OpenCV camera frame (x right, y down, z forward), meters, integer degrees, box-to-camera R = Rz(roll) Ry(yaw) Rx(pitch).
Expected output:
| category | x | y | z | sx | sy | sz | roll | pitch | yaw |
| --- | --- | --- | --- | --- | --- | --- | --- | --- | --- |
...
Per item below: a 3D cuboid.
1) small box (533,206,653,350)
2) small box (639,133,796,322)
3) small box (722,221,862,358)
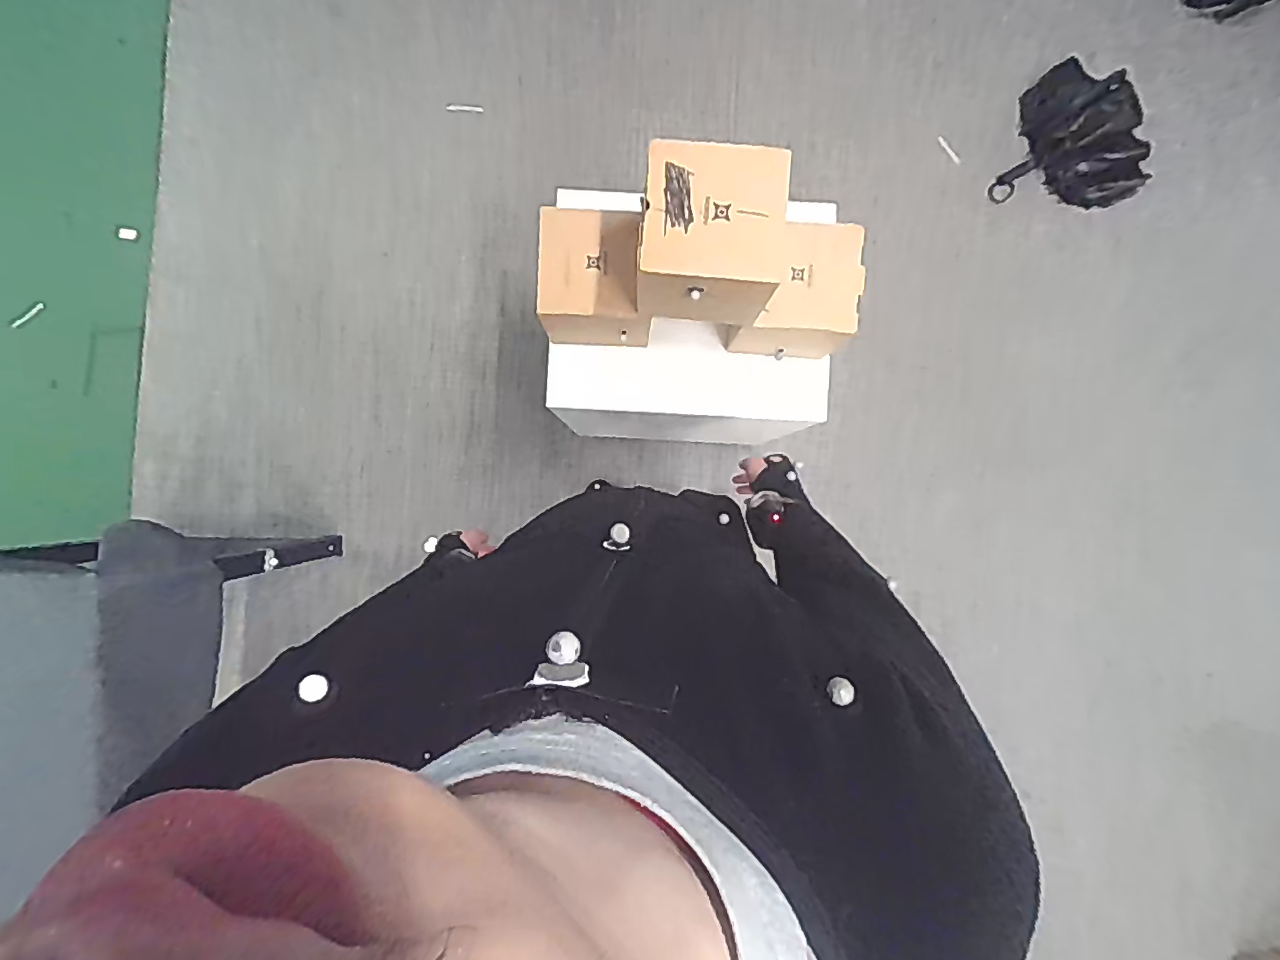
| category | x | y | z | sx | sy | sz | roll | pitch | yaw |
| --- | --- | --- | --- | --- | --- | --- | --- | --- | --- |
| small box | -0.073 | -0.314 | 0.870 | 0.179 | 0.176 | 0.168 | 0 | 87 | -3 |
| small box | 0.091 | -0.318 | 0.714 | 0.179 | 0.176 | 0.168 | 4 | 88 | -3 |
| small box | 0.239 | -0.302 | 0.885 | 0.179 | 0.176 | 0.168 | 3 | 88 | -1 |
